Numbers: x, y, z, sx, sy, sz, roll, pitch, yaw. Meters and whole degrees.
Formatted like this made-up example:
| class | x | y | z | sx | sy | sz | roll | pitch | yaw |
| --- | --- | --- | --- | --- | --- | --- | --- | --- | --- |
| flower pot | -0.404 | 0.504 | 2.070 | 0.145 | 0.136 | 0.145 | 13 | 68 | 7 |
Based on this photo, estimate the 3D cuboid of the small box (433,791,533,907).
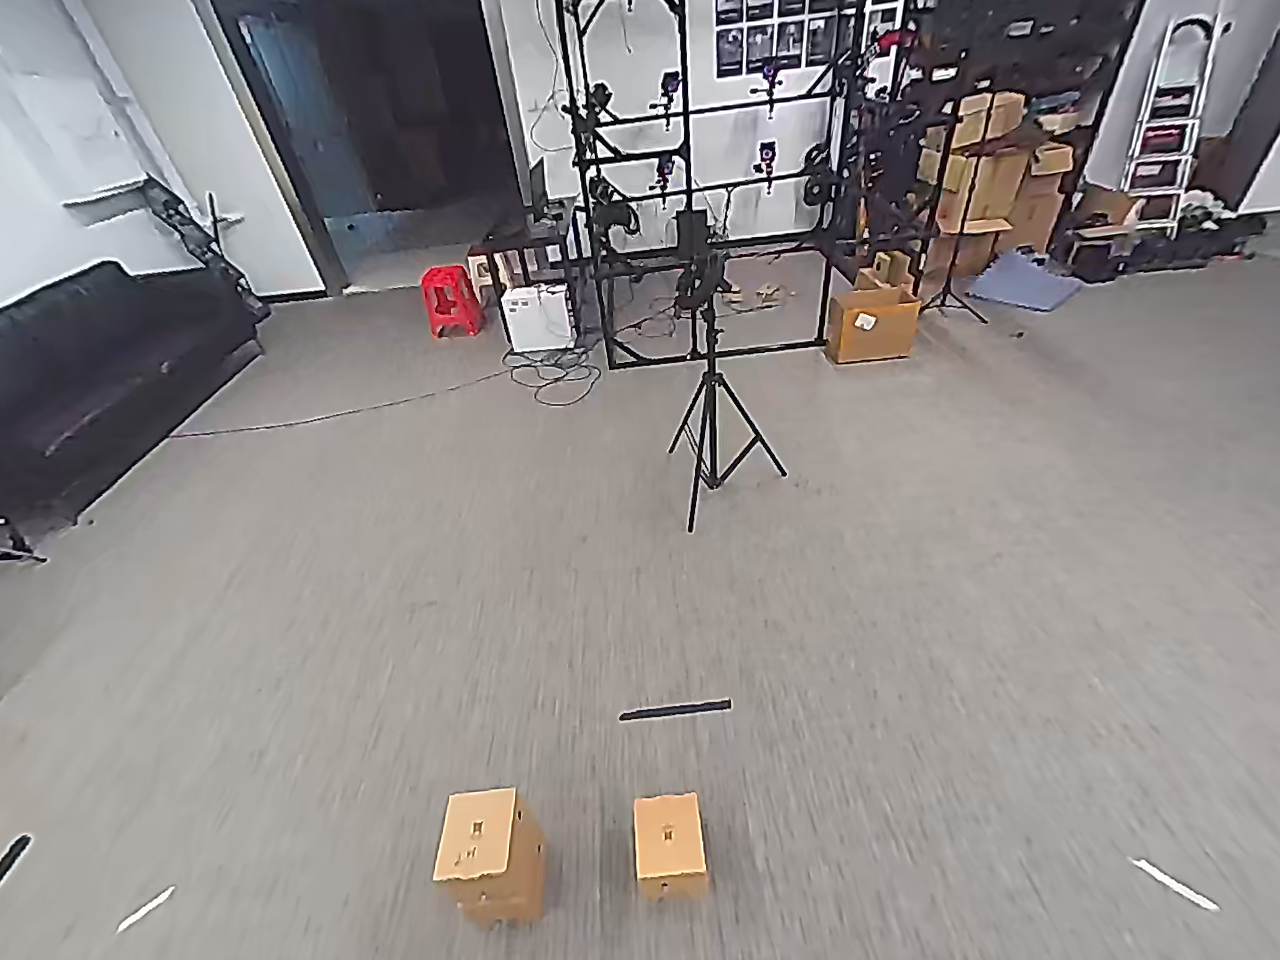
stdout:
| class | x | y | z | sx | sy | sz | roll | pitch | yaw |
| --- | --- | --- | --- | --- | --- | --- | --- | --- | --- |
| small box | -0.353 | 0.858 | 1.257 | 0.168 | 0.176 | 0.179 | -8 | 39 | 3 |

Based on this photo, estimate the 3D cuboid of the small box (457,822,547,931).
| class | x | y | z | sx | sy | sz | roll | pitch | yaw |
| --- | --- | --- | --- | --- | --- | --- | --- | --- | --- |
| small box | -0.335 | 0.991 | 1.352 | 0.168 | 0.176 | 0.179 | -7 | 38 | 2 |

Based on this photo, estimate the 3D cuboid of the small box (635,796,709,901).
| class | x | y | z | sx | sy | sz | roll | pitch | yaw |
| --- | --- | --- | --- | --- | --- | --- | --- | --- | --- |
| small box | 0.080 | 0.931 | 1.360 | 0.168 | 0.176 | 0.179 | -7 | 37 | 1 |
